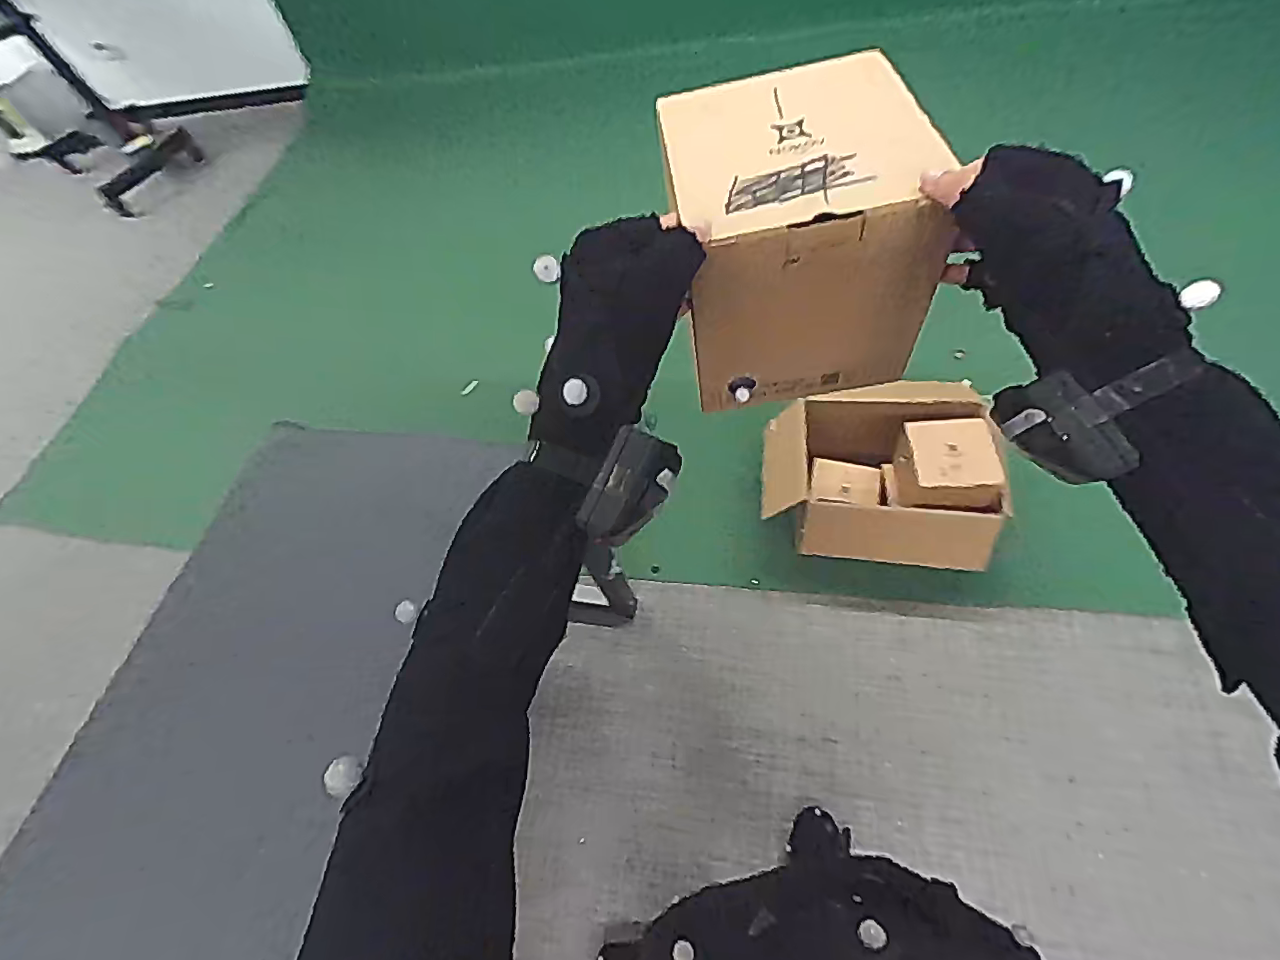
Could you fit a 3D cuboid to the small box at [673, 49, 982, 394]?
[{"bbox_3d":[0.122,-0.183,0.421,0.168,0.176,0.179,-8,59,6],"label":"small box"}]
